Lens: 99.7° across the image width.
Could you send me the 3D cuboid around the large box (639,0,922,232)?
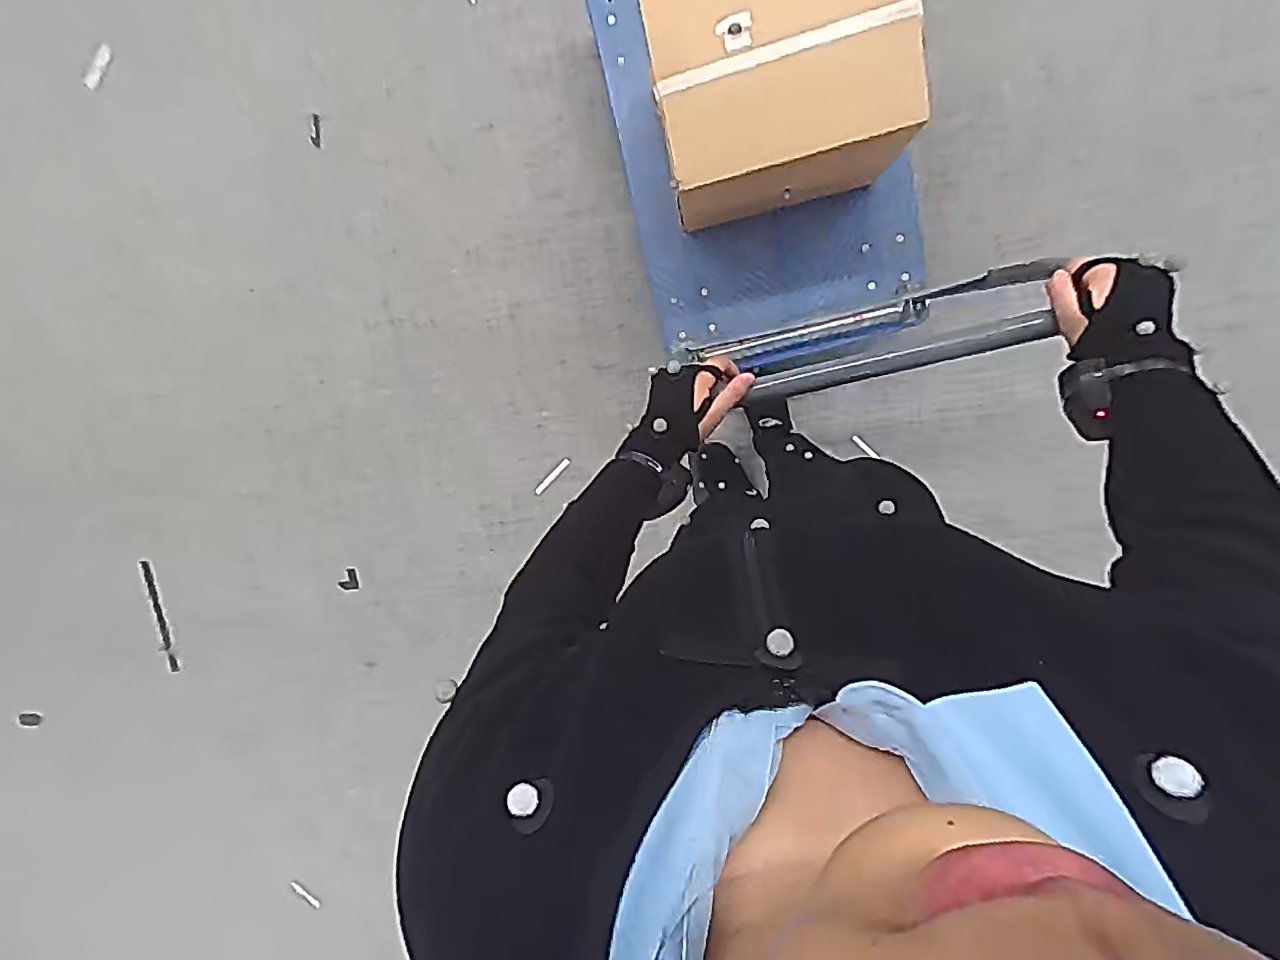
[{"bbox_3d":[0.244,-0.704,1.007,0.408,0.320,0.320,-11,100,11],"label":"large box"}]
